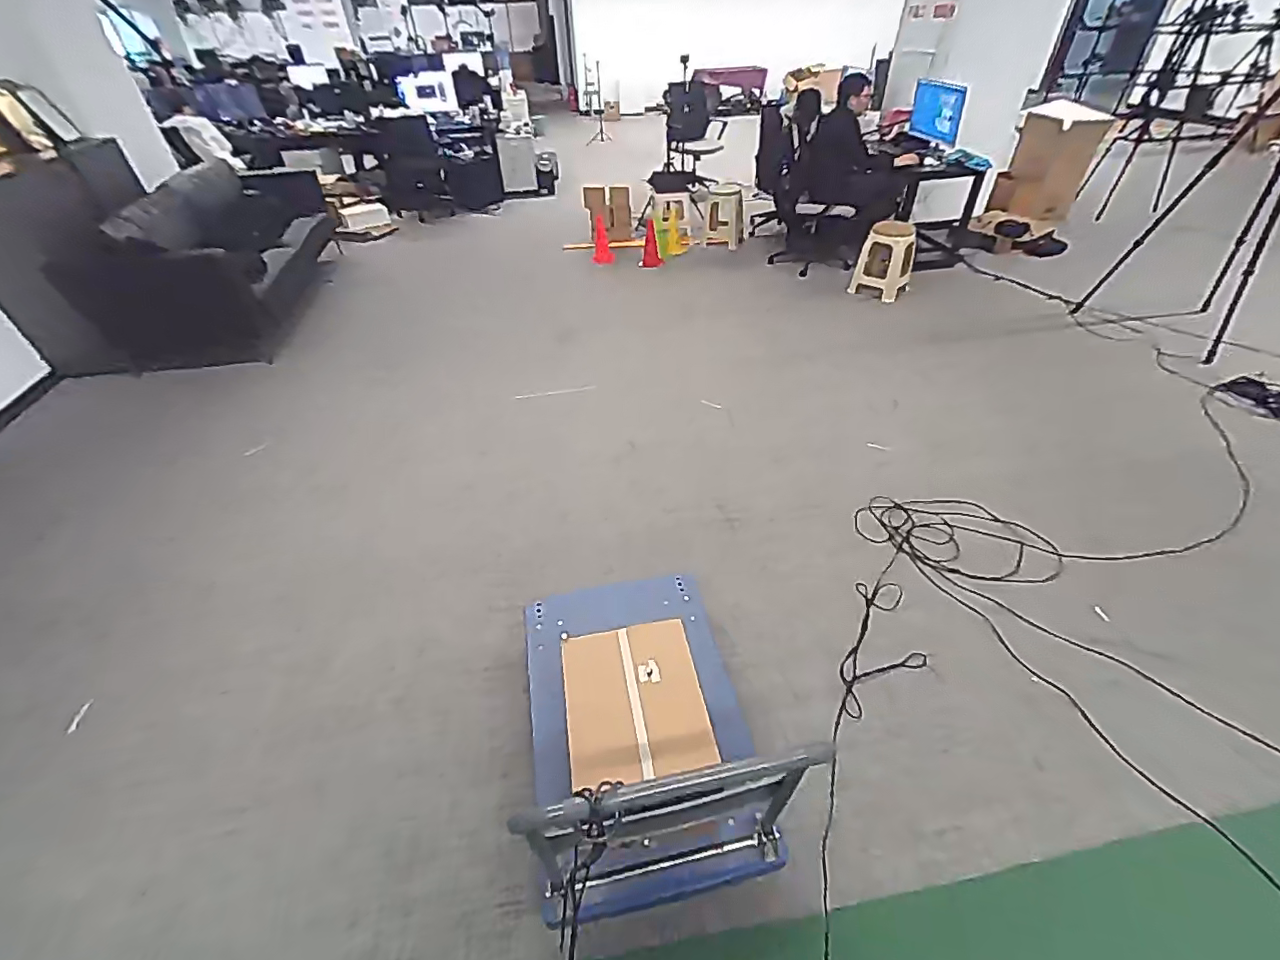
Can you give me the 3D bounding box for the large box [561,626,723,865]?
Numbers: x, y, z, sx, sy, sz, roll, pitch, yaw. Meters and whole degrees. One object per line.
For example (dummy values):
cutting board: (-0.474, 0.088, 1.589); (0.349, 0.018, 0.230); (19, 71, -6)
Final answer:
large box: (-0.007, 0.637, 1.326); (0.320, 0.320, 0.408); (-7, 40, -7)
